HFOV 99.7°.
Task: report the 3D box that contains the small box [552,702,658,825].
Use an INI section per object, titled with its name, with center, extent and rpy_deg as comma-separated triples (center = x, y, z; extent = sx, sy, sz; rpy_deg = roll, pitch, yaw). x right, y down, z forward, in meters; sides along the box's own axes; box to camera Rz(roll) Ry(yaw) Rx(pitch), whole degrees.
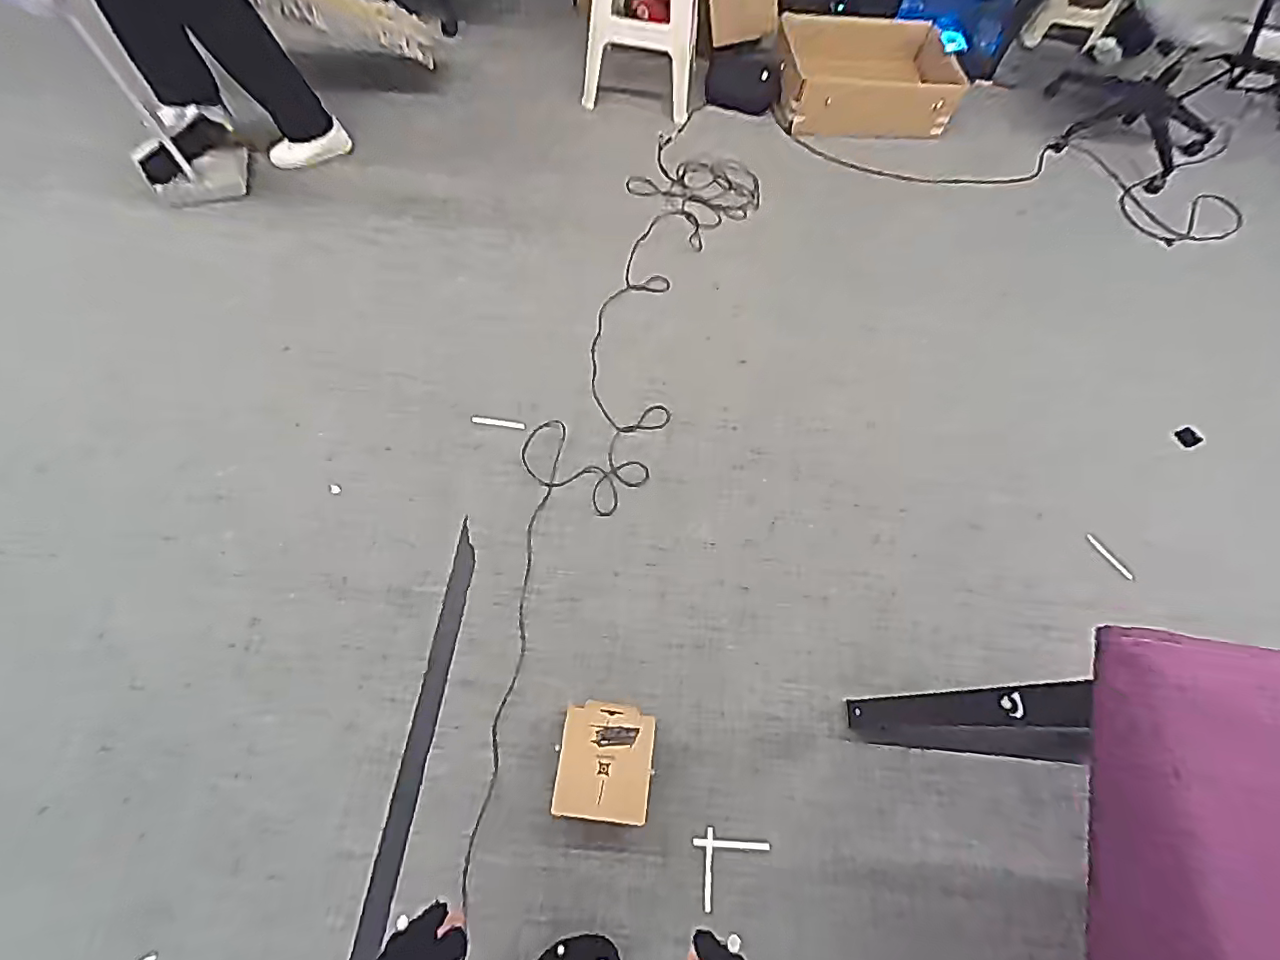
[small box]
center = -0.067, 0.528, 1.022
extent = 0.168, 0.176, 0.179
rpy_deg = 9, 65, -1
